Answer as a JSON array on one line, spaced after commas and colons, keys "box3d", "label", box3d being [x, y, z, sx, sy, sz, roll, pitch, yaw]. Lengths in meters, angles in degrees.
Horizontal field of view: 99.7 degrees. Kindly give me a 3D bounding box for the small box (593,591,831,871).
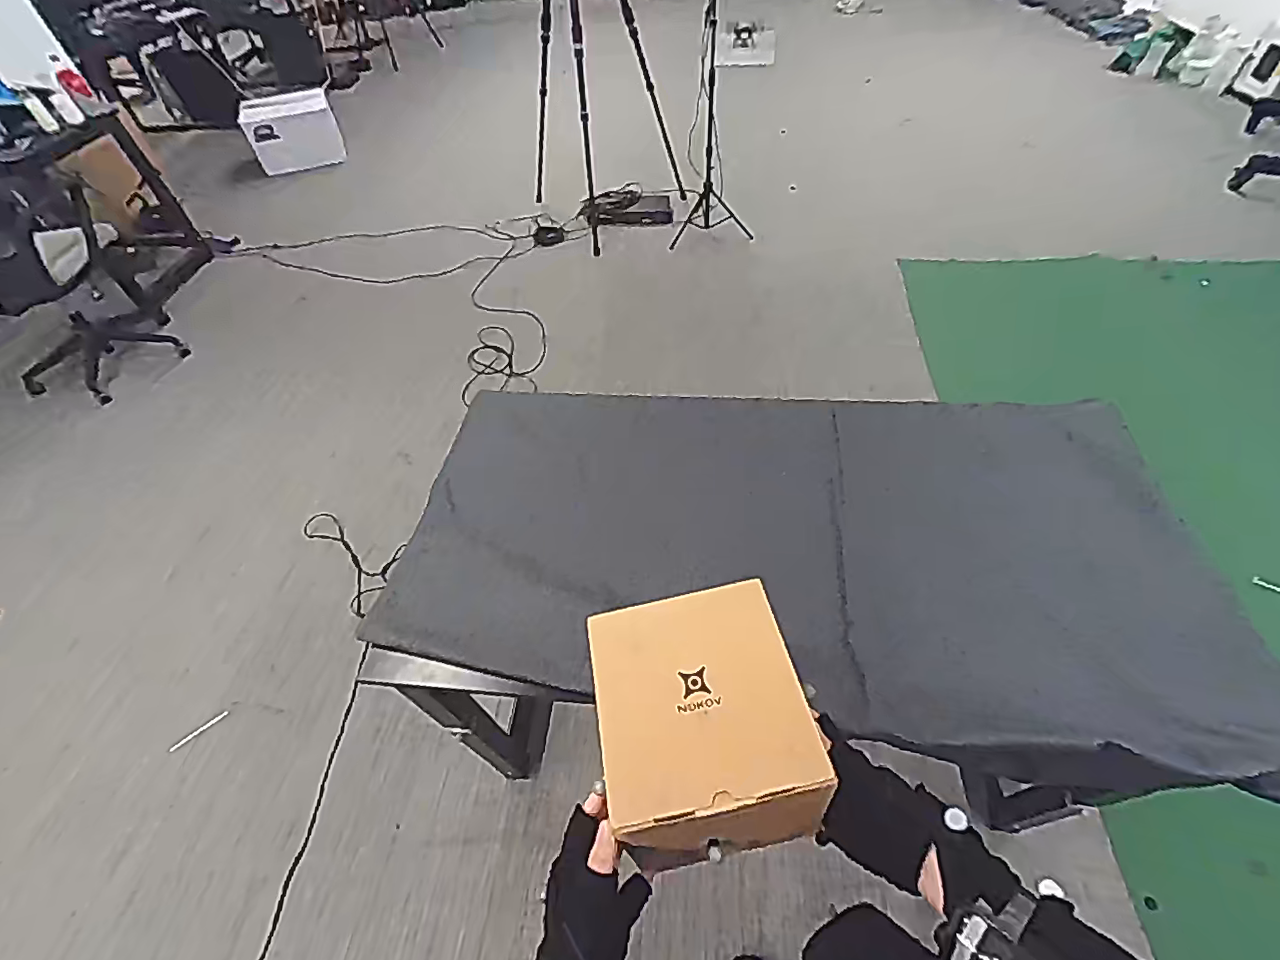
[{"box3d": [0.057, 0.235, 0.508, 0.168, 0.176, 0.179, -13, 47, -1], "label": "small box"}]
